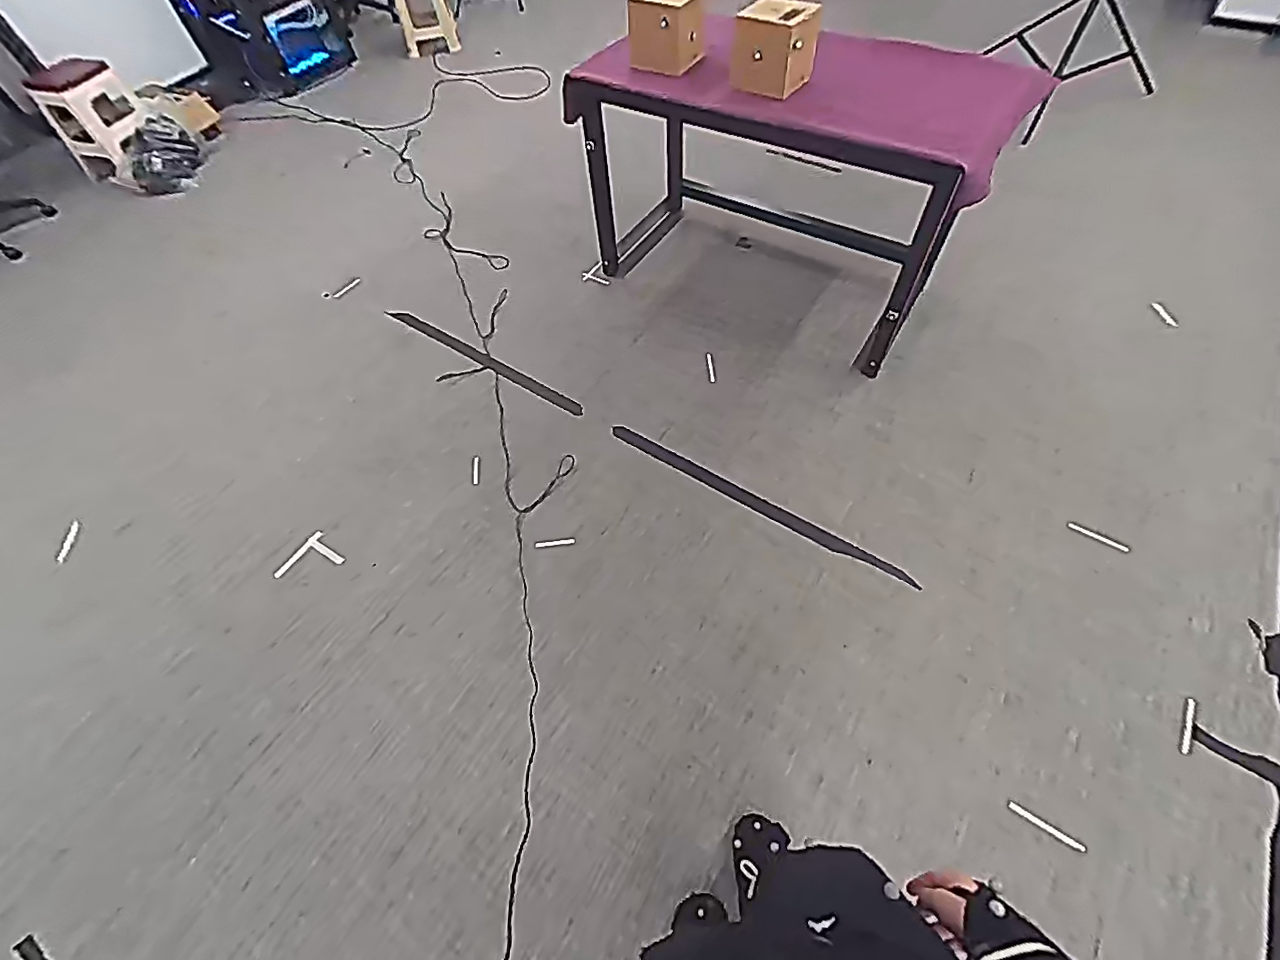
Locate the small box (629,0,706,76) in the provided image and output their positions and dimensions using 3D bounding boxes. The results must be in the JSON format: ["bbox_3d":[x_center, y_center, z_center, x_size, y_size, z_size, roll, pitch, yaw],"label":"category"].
[{"bbox_3d":[0.086,-1.339,1.613,0.179,0.176,0.168,26,61,19],"label":"small box"}]
